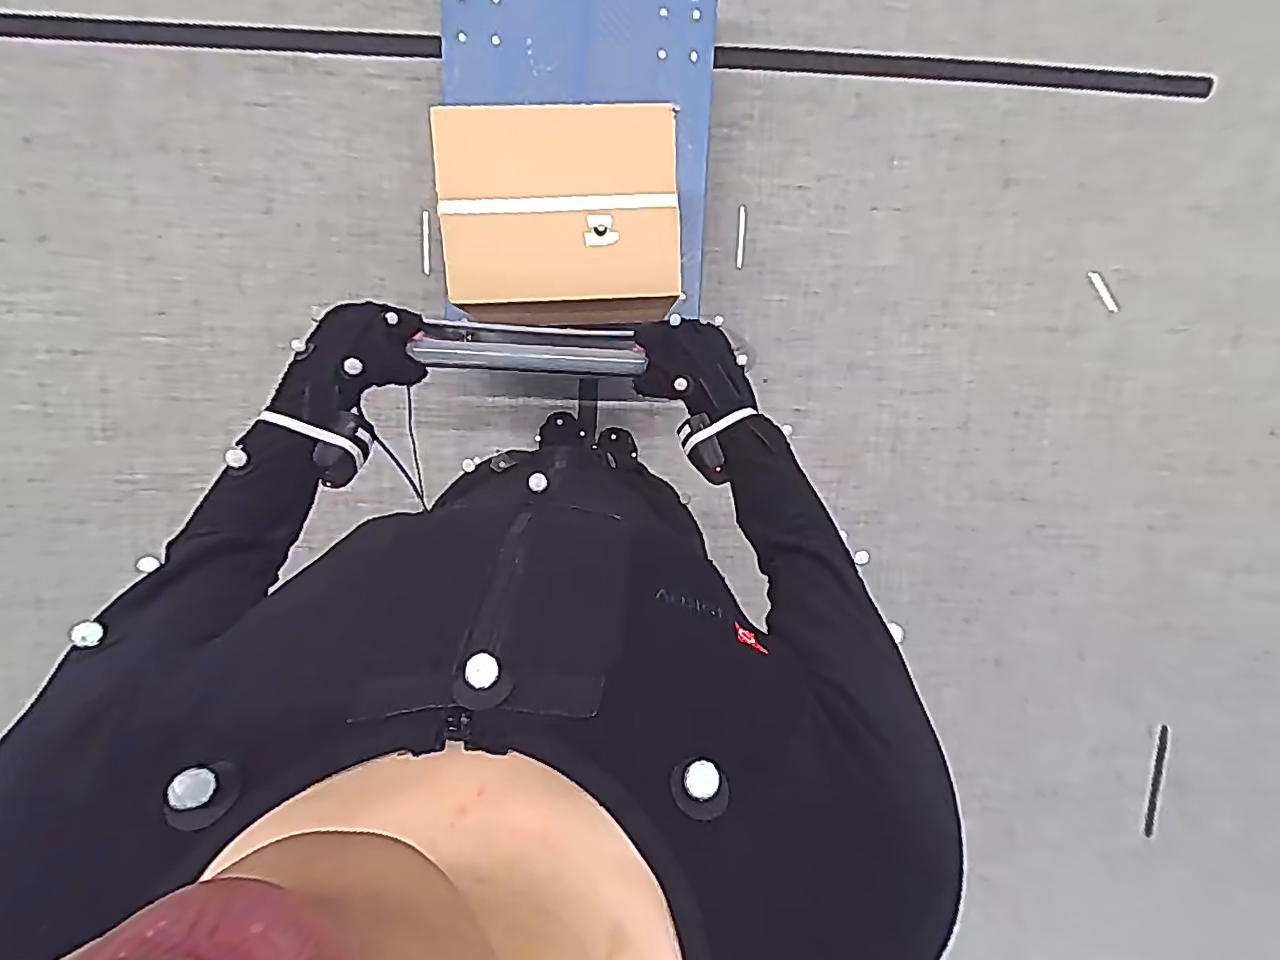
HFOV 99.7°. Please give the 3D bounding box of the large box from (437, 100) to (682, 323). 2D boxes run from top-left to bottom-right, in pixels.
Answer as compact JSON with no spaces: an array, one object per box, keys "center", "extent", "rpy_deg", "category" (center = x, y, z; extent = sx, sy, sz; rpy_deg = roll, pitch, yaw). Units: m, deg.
[{"center":[-0.145,-0.503,1.077],"extent":[0.408,0.320,0.320],"rpy_deg":[-4,99,-4],"category":"large box"}]
